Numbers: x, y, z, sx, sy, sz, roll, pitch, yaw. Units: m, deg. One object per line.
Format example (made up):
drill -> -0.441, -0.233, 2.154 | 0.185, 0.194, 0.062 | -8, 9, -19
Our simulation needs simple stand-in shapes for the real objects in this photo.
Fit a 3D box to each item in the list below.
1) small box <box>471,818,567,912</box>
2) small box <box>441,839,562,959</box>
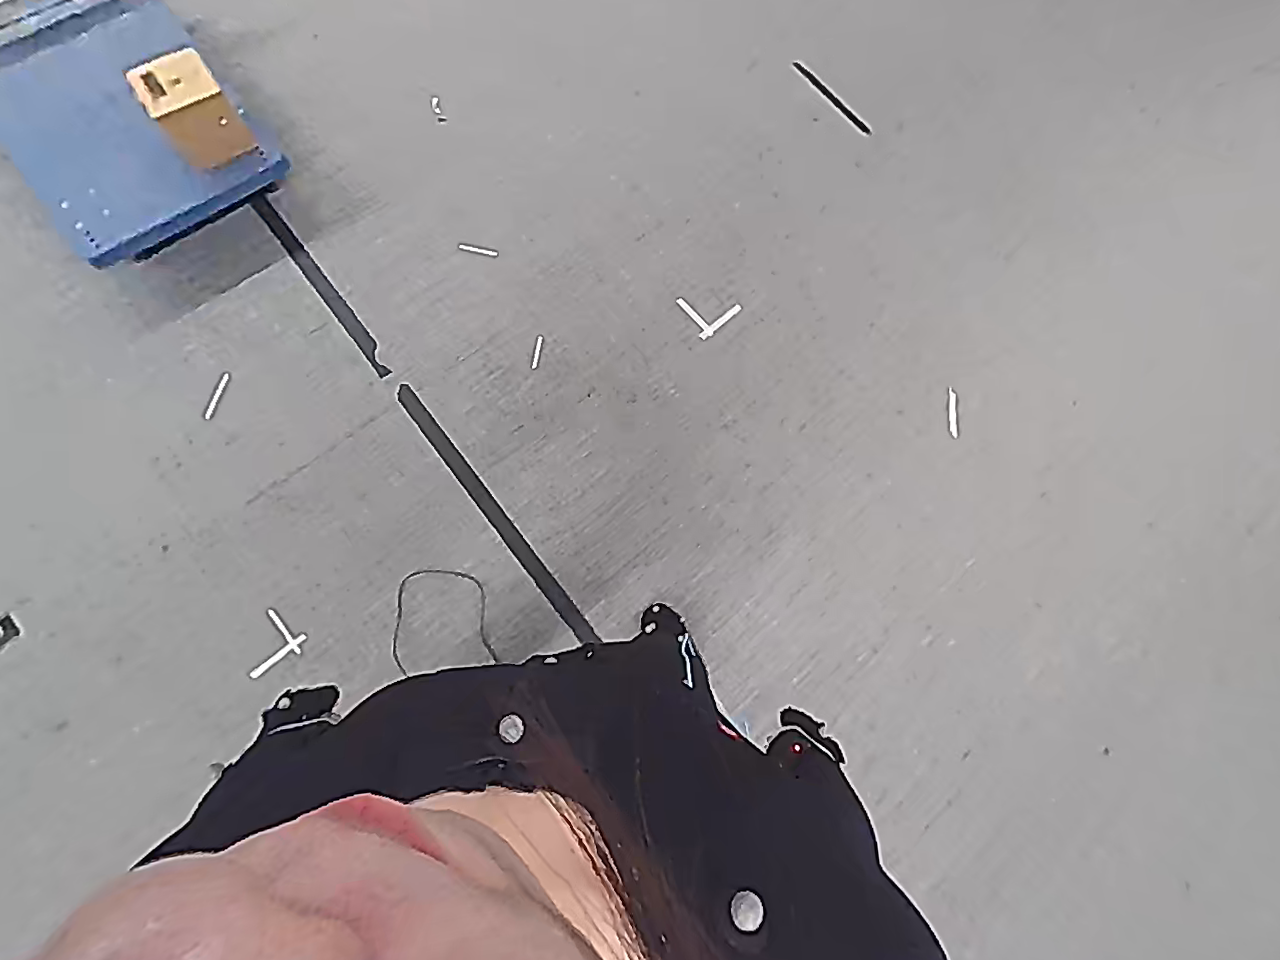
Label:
small box -> -0.283, 0.926, 1.256 | 0.168, 0.176, 0.179 | -31, 82, -10
small box -> -0.270, 0.885, 1.098 | 0.168, 0.176, 0.179 | -29, 81, -10
